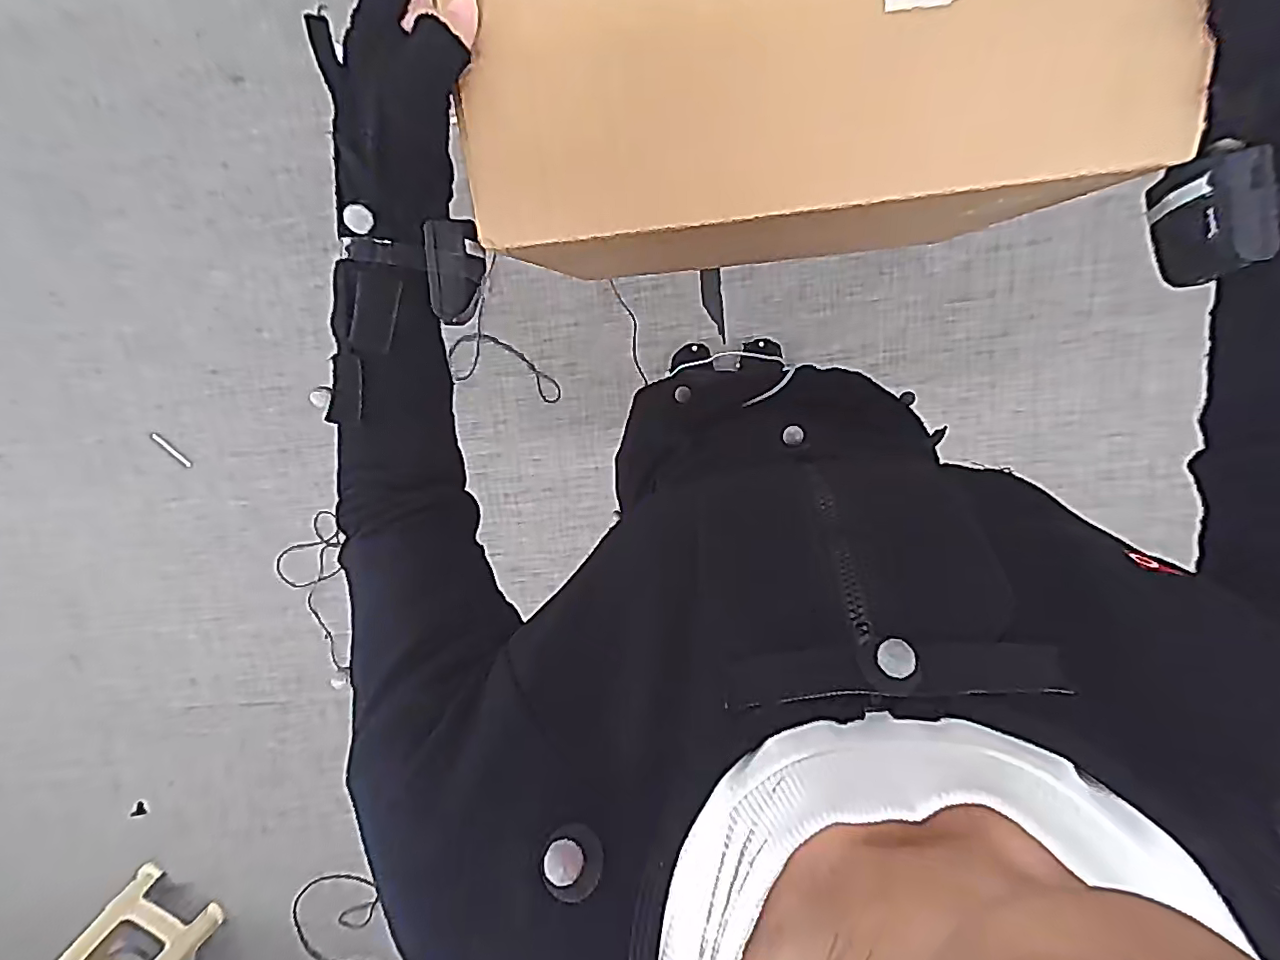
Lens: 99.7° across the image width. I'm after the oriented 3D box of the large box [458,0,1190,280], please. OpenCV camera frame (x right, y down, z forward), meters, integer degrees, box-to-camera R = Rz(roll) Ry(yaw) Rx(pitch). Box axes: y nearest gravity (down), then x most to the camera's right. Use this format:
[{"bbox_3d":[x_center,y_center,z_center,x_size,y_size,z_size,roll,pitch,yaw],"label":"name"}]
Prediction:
[{"bbox_3d":[0.098,-0.357,0.432,0.408,0.320,0.320,-5,106,6],"label":"large box"}]
